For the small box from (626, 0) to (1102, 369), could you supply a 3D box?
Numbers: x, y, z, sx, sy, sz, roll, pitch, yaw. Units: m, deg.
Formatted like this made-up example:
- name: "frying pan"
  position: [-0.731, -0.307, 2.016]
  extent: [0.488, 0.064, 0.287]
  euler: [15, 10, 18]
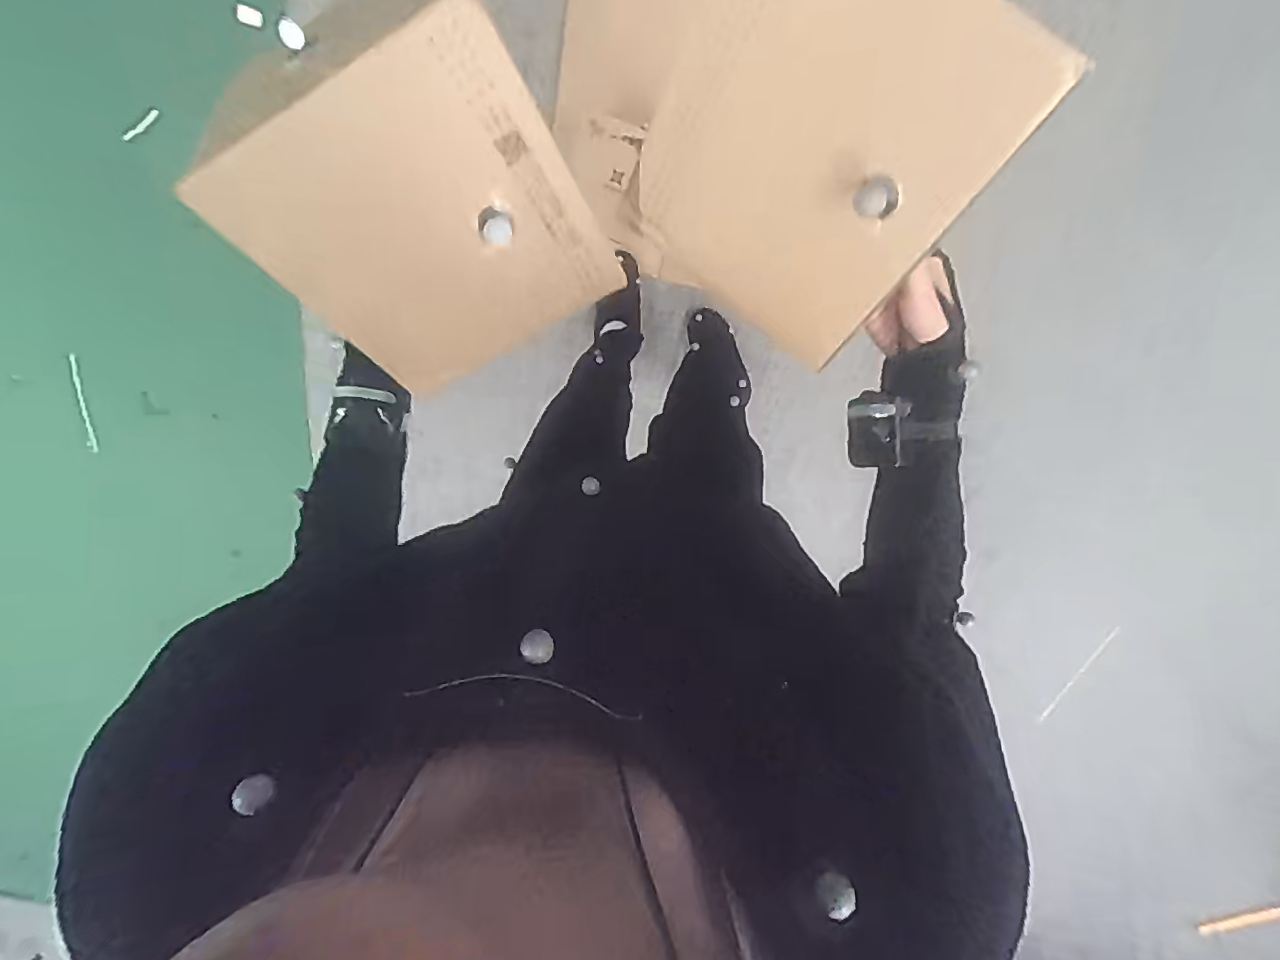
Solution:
- name: "small box"
  position: [0.114, -0.207, 0.324]
  extent: [0.176, 0.168, 0.179]
  euler: [38, 137, 1]

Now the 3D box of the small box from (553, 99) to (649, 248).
- name: "small box"
  position: [-0.041, -0.543, 0.971]
  extent: [0.168, 0.176, 0.179]
  euler: [20, 118, -8]
